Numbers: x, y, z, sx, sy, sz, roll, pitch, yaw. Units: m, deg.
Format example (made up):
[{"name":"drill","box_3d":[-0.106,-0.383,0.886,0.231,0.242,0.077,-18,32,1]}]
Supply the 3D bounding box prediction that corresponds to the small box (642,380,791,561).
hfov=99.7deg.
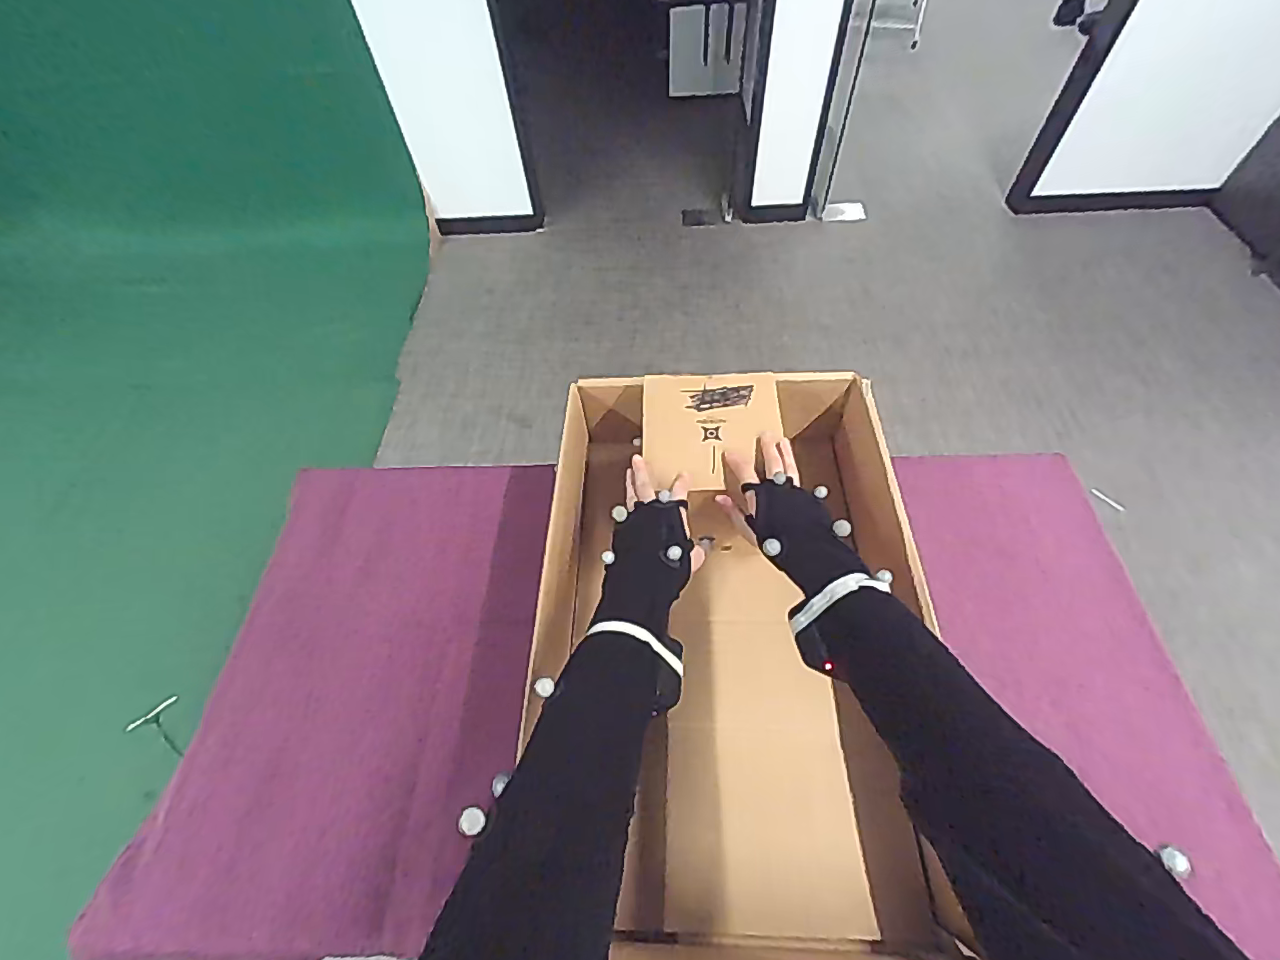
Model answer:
[{"name":"small box","box_3d":[0.090,-0.010,0.704,0.168,0.176,0.179,-1,58,4]}]
